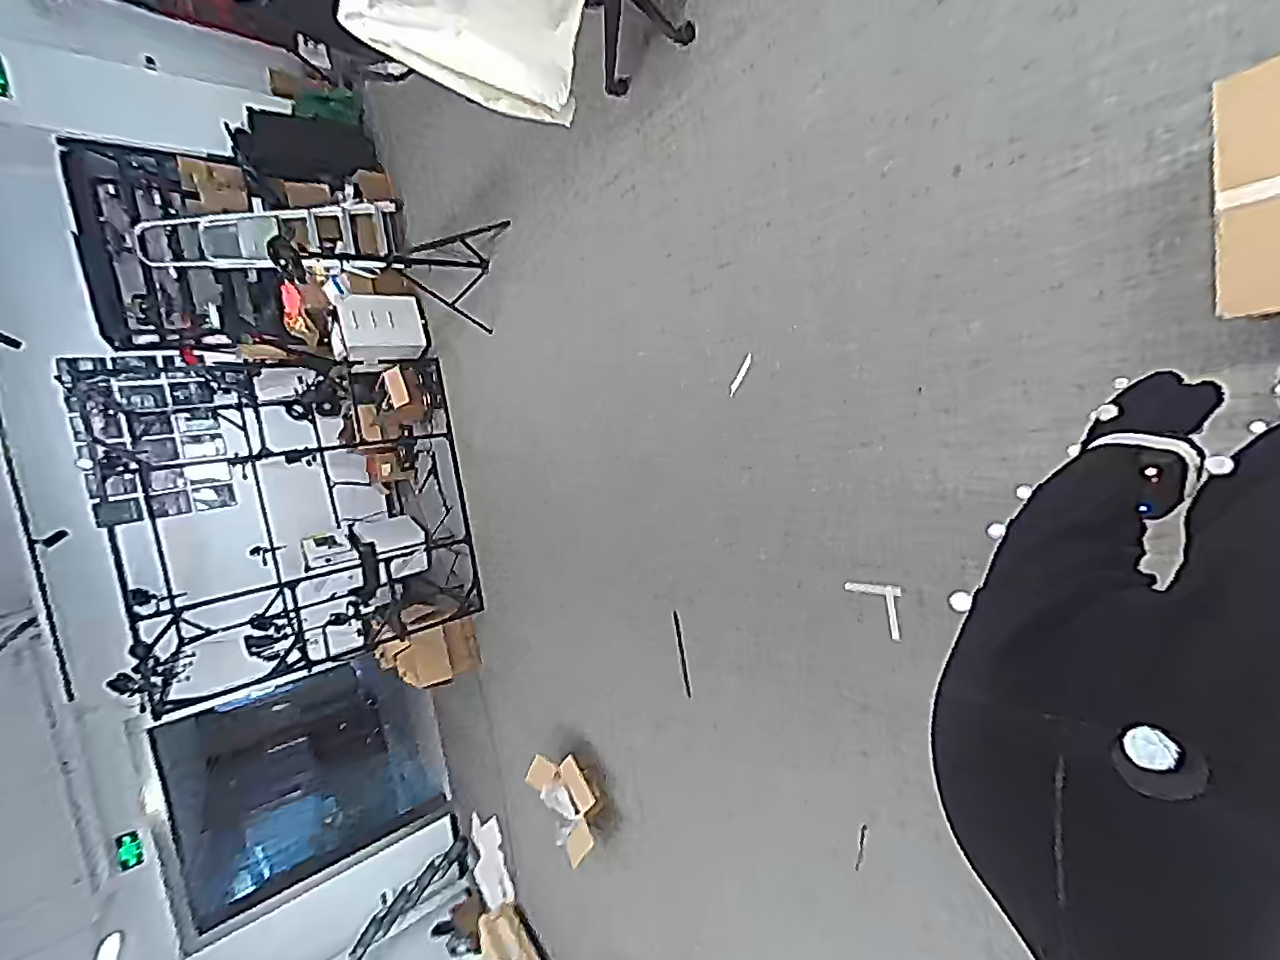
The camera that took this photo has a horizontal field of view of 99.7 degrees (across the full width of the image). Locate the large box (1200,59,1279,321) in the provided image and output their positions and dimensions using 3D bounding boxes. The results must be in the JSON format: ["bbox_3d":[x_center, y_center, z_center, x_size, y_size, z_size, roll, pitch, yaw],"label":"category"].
[{"bbox_3d":[1.013,-0.400,0.673,0.408,0.320,0.320,0,100,53],"label":"large box"}]
